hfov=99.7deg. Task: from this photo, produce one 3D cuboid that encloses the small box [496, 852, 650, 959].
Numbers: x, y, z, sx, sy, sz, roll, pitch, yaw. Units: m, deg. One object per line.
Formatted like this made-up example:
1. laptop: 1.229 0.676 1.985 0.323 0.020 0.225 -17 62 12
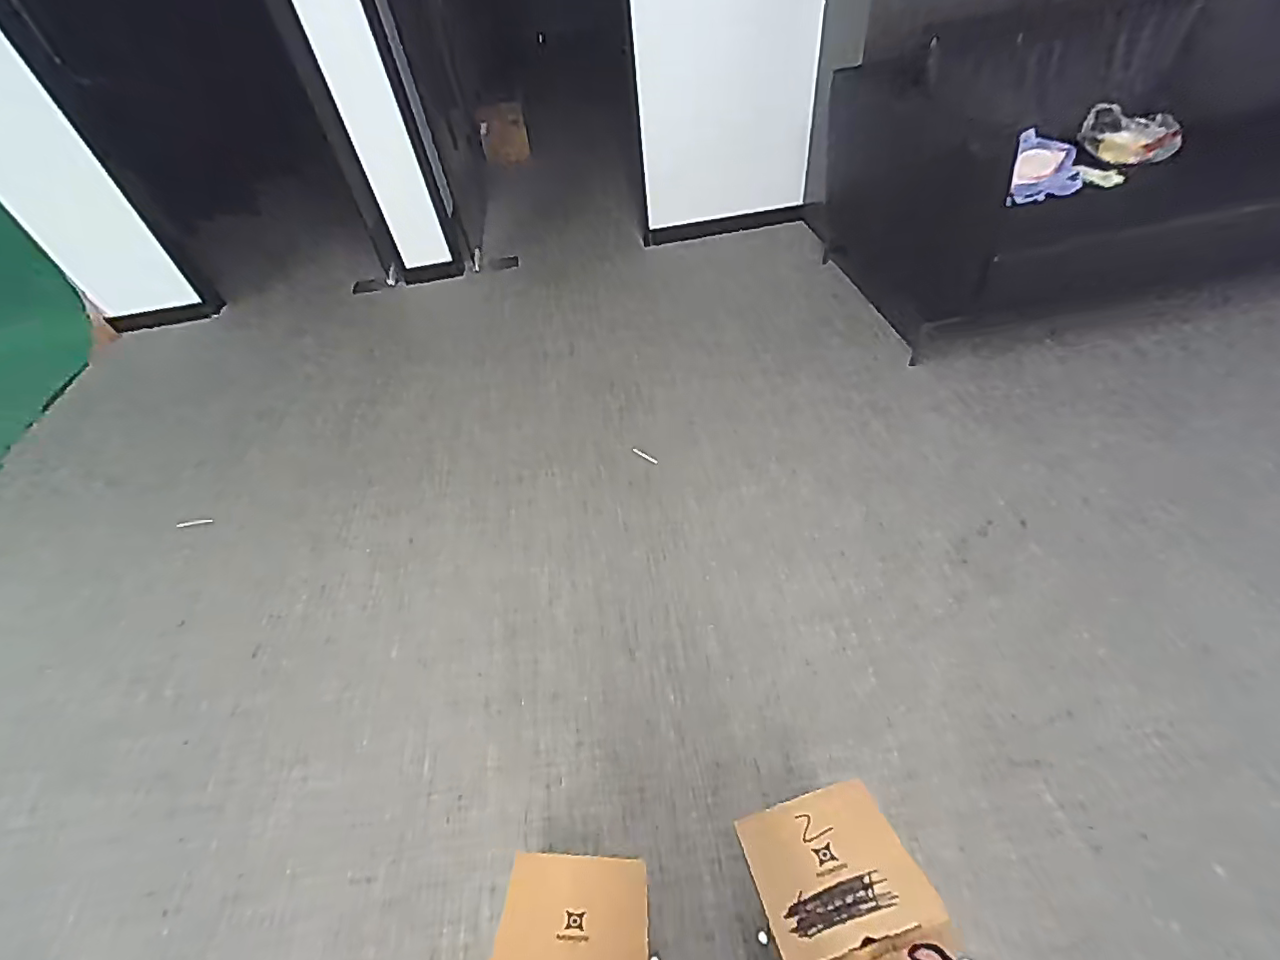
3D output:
1. small box: -0.078 0.580 0.625 0.168 0.176 0.179 5 12 -1
